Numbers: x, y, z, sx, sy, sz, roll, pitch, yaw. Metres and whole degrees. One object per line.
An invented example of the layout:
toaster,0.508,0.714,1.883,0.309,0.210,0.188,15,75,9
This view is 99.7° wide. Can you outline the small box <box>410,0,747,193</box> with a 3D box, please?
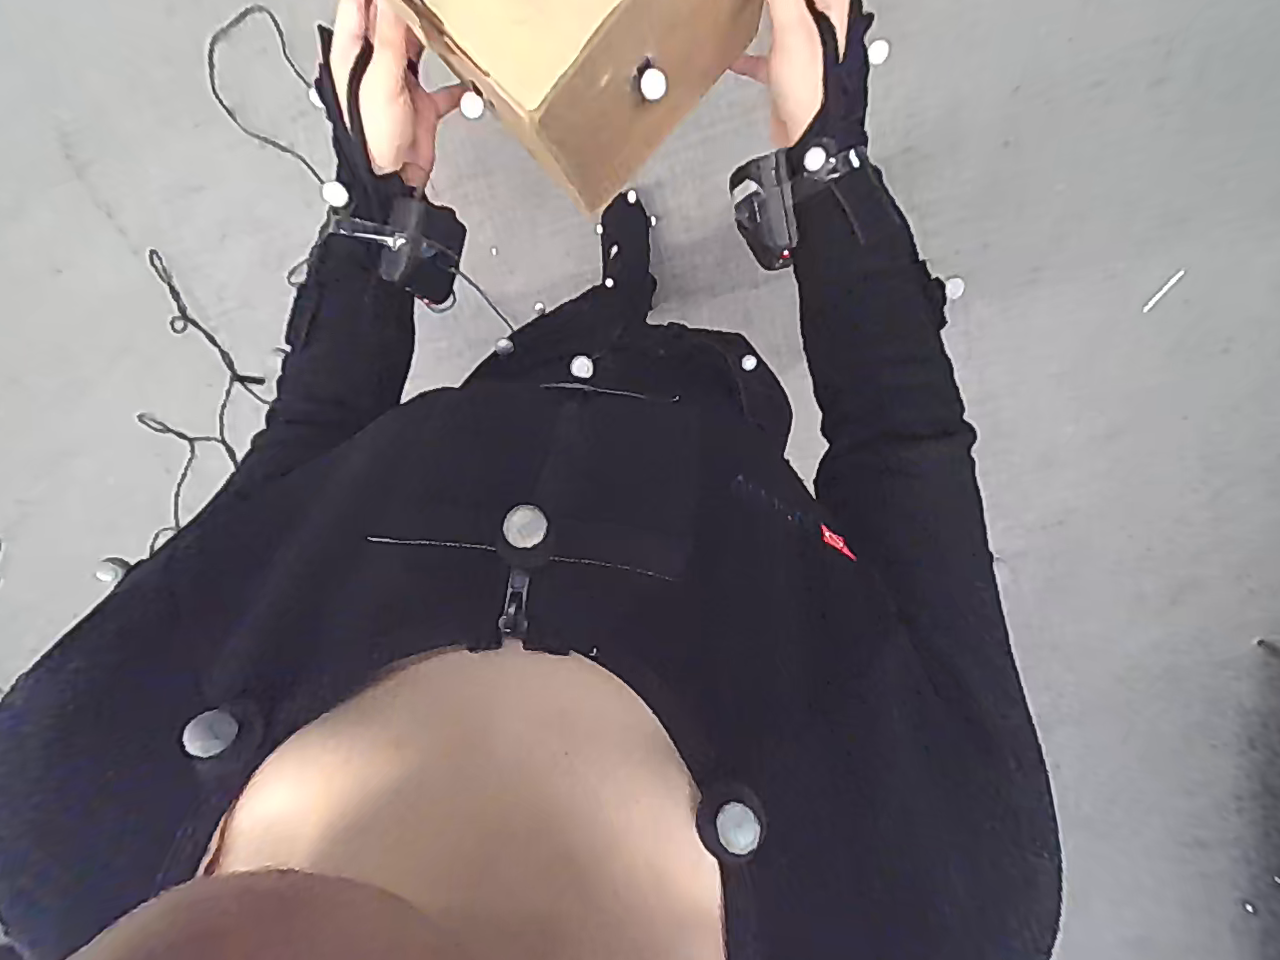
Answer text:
small box,-0.040,-0.316,0.328,0.168,0.176,0.179,45,103,-4
